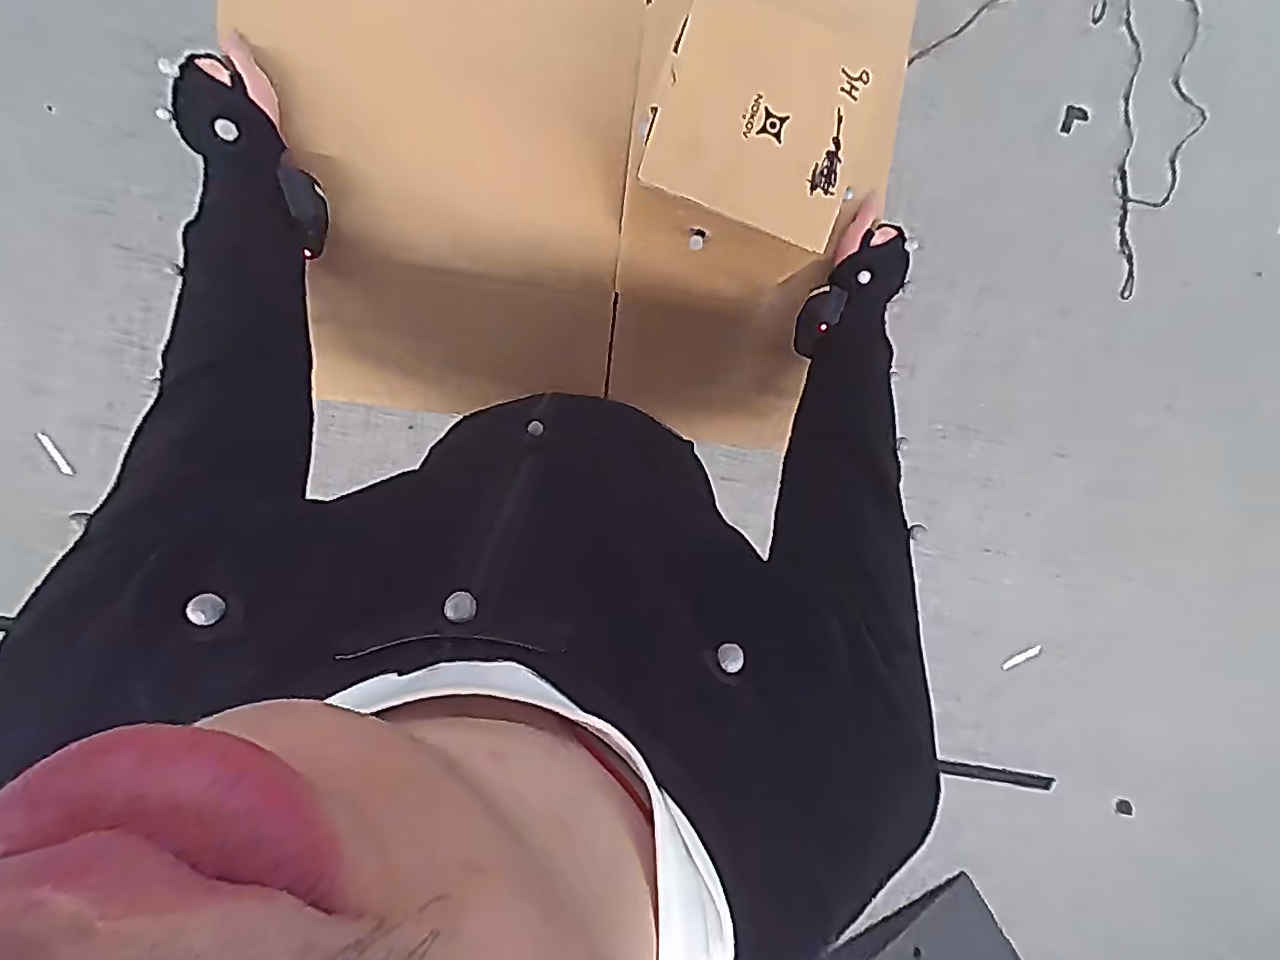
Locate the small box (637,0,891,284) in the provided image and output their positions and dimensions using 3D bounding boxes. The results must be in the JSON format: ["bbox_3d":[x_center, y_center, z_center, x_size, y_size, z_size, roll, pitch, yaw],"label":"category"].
[{"bbox_3d":[0.102,-0.314,0.537,0.179,0.176,0.168,18,96,-6],"label":"small box"}]
